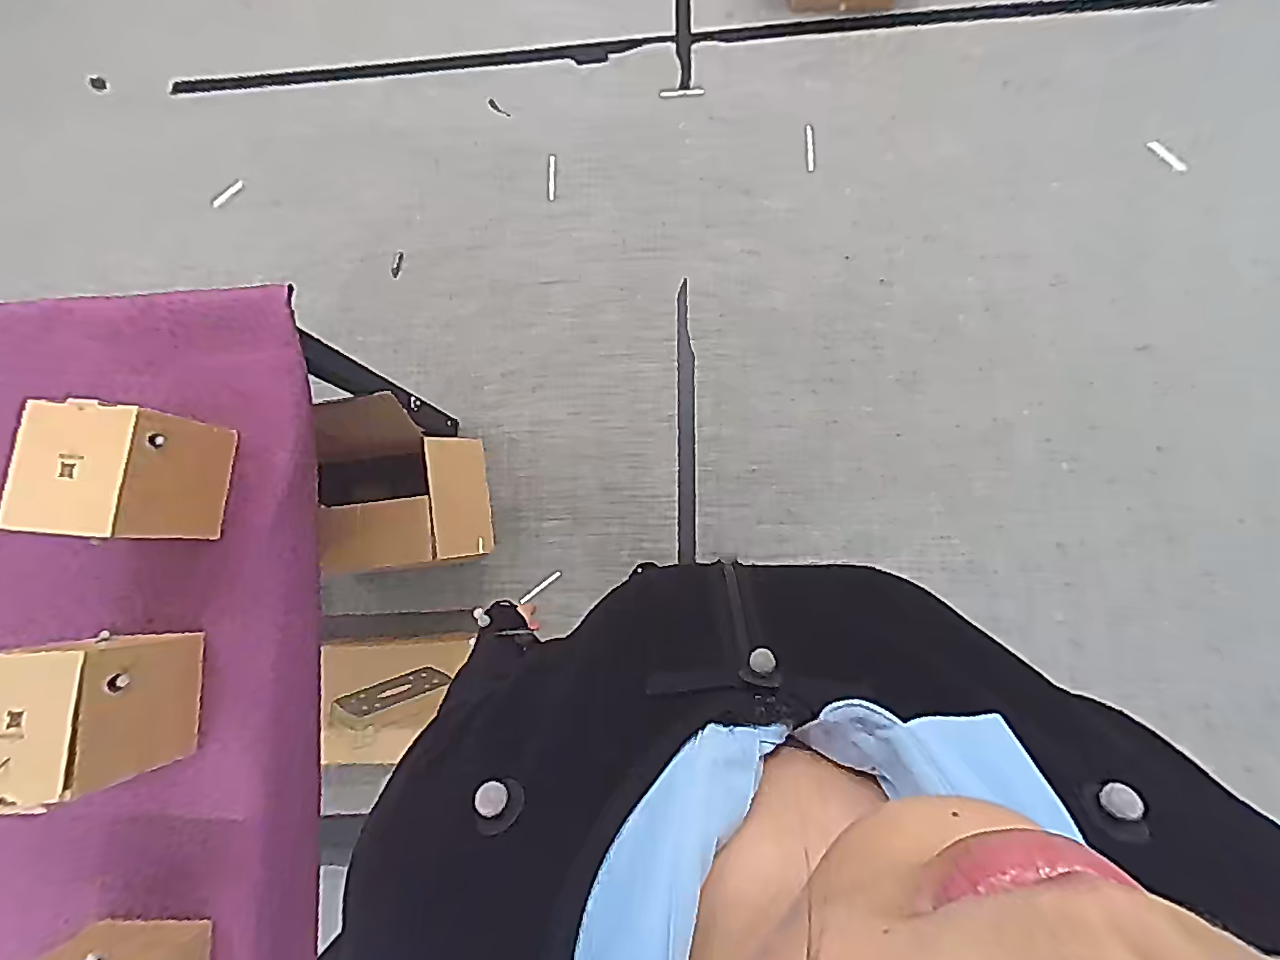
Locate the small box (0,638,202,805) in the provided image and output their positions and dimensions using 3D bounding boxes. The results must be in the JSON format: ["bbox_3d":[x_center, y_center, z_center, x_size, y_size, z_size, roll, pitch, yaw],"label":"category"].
[{"bbox_3d":[-0.744,0.313,0.734,0.168,0.176,0.179,-4,82,6],"label":"small box"}]

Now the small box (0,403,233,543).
[{"bbox_3d":[-0.736,-0.002,0.780,0.168,0.176,0.179,4,82,5],"label":"small box"}]
